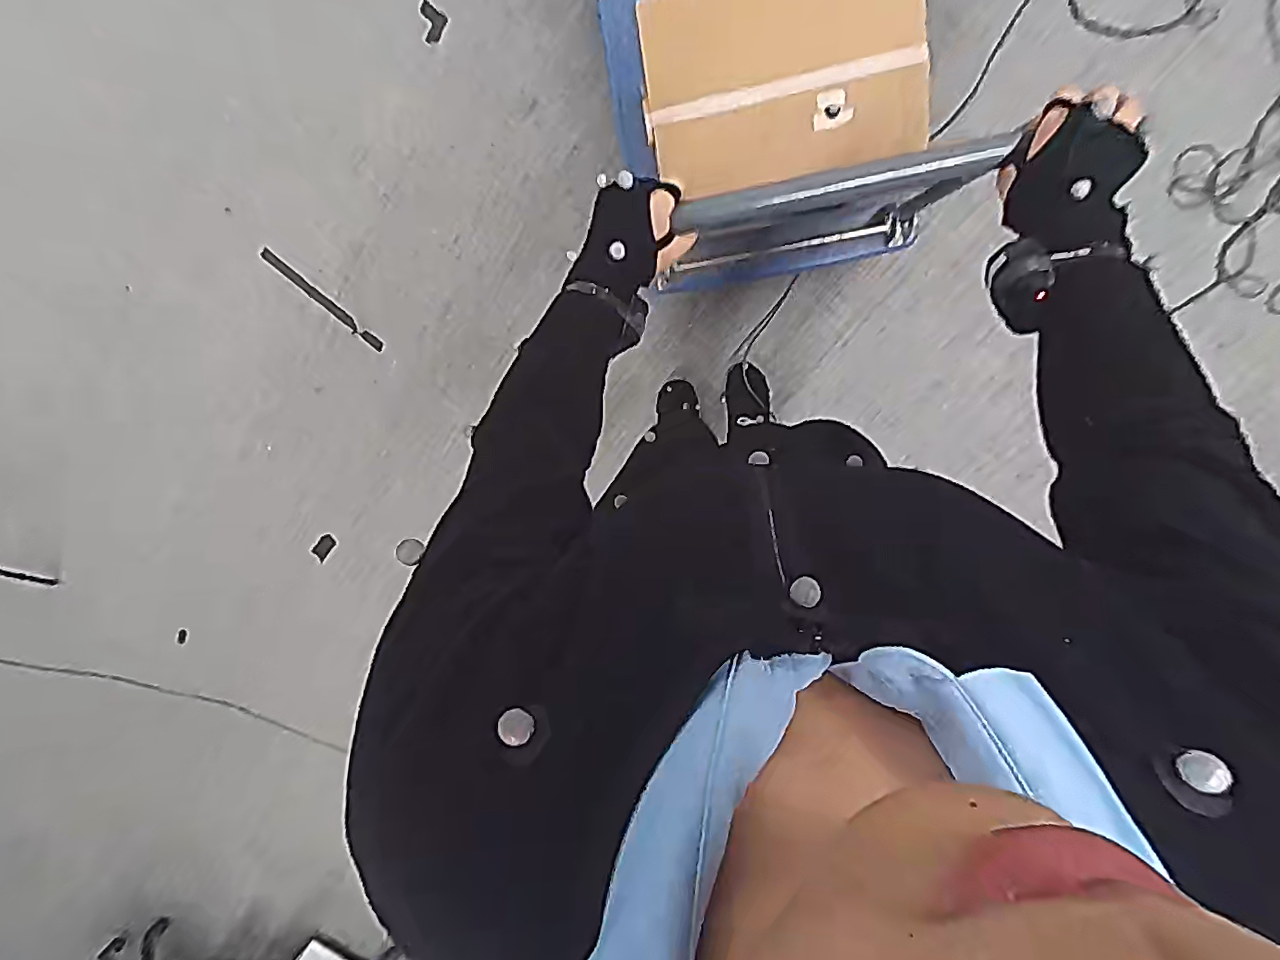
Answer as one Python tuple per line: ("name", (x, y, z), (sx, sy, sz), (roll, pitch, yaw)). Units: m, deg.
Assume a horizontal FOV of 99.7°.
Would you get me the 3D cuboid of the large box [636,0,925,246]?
("large box", (0.228, -0.626, 0.949), (0.408, 0.320, 0.320), (-7, 108, 9))
